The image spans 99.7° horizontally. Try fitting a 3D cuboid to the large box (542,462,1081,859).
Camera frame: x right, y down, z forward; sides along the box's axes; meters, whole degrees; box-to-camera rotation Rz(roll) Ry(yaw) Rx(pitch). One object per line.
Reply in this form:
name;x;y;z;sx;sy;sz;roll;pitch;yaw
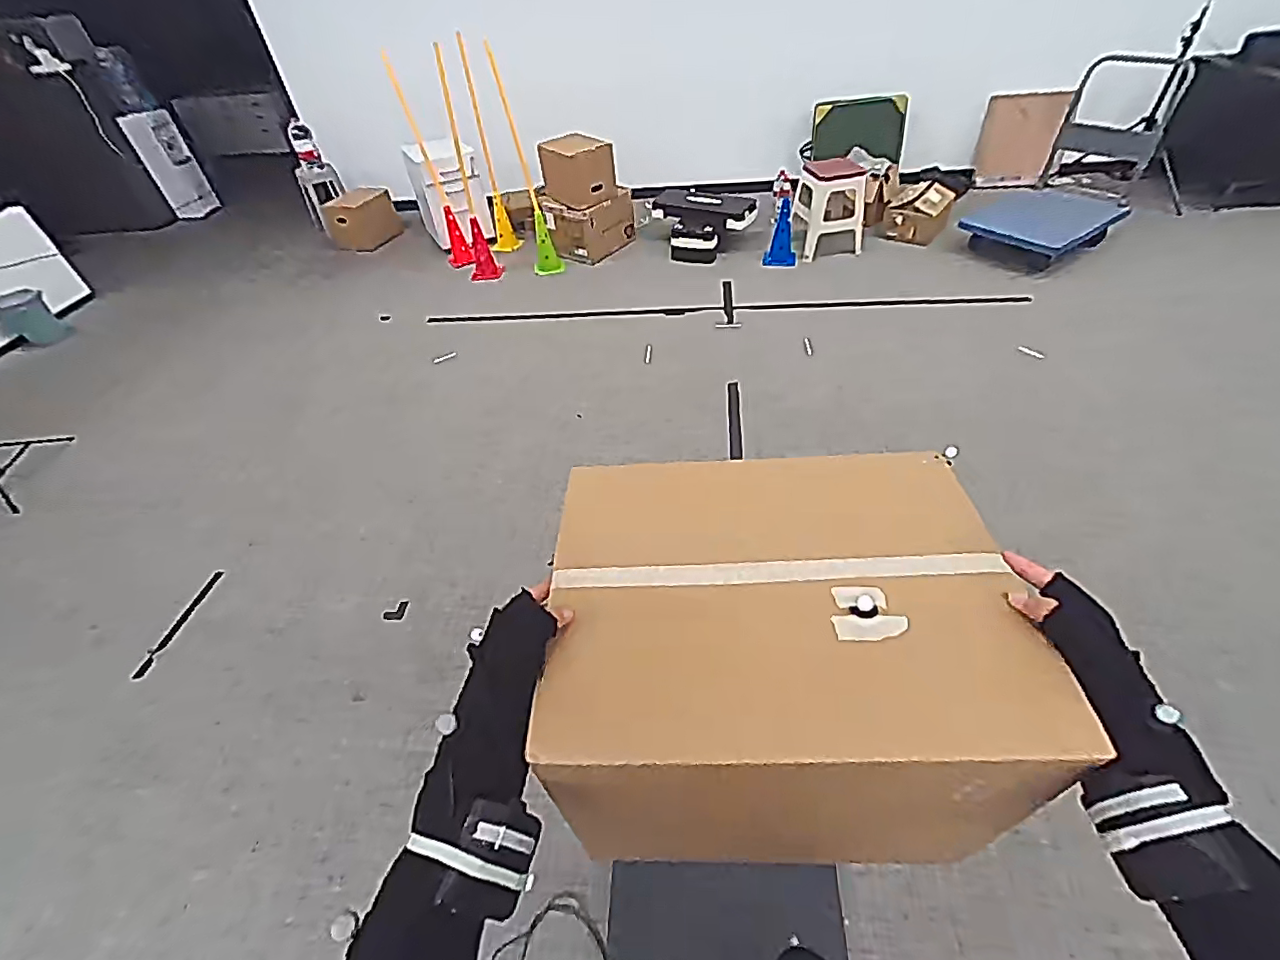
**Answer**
large box;0.132;0.202;0.606;0.408;0.320;0.320;-3;44;4
